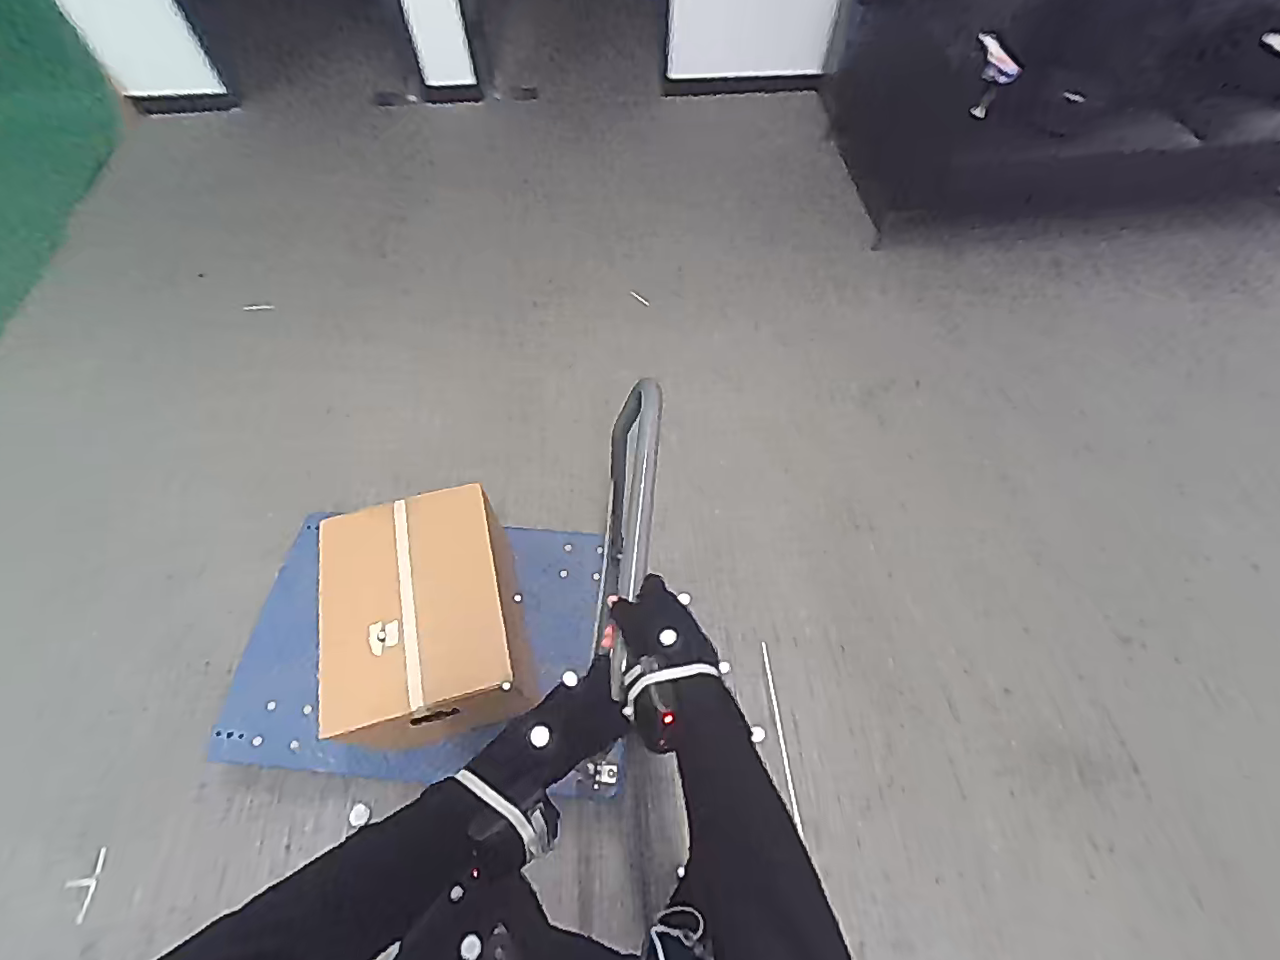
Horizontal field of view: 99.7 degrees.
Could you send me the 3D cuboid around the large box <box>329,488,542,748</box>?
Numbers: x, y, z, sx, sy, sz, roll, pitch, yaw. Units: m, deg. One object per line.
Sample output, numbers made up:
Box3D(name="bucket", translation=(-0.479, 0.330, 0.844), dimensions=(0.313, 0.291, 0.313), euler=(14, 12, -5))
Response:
Box3D(name="large box", translation=(-0.409, 0.289, 1.122), dimensions=(0.320, 0.320, 0.408), euler=(-15, 61, -8))
